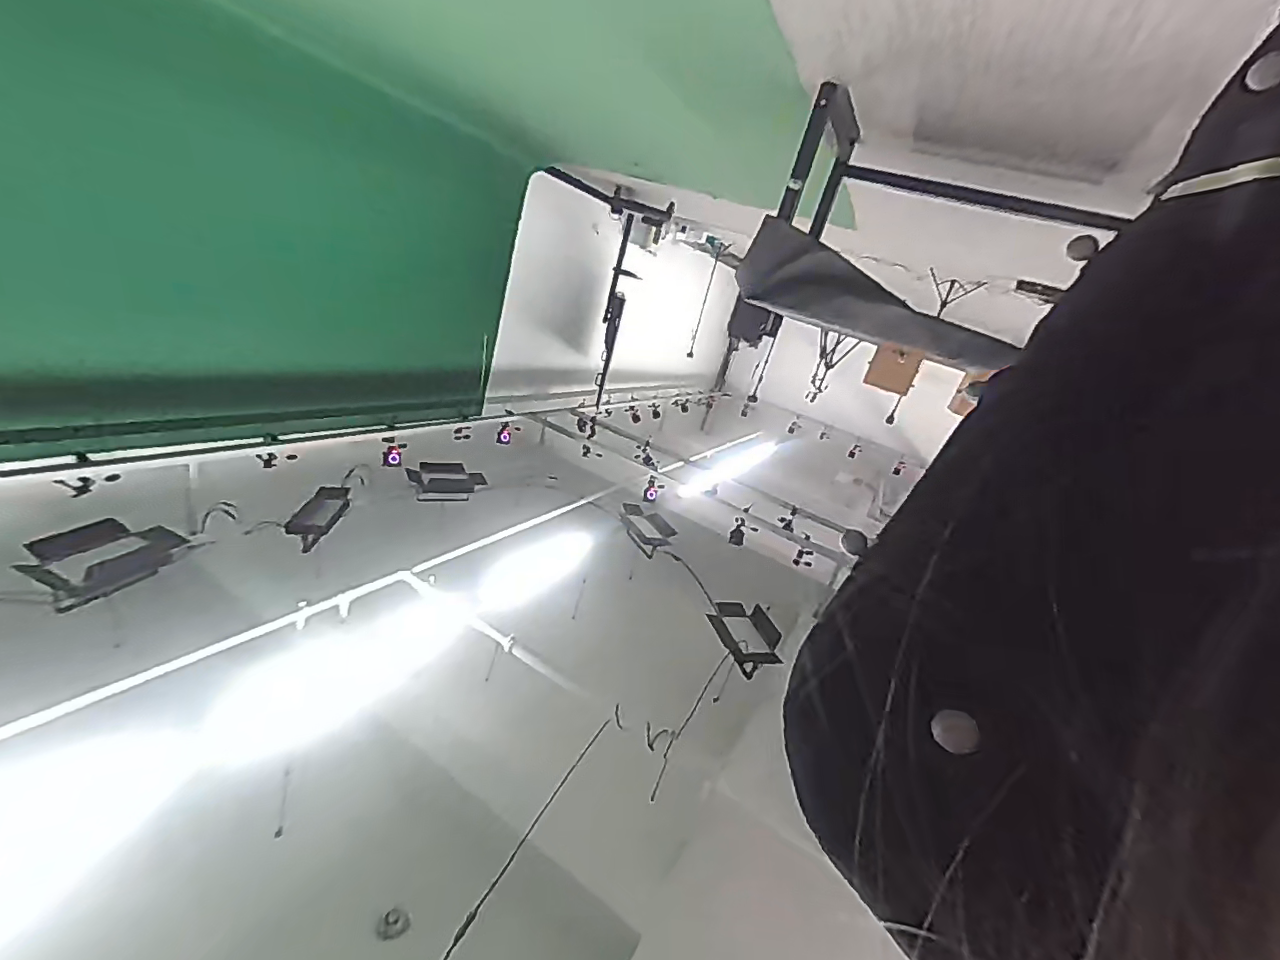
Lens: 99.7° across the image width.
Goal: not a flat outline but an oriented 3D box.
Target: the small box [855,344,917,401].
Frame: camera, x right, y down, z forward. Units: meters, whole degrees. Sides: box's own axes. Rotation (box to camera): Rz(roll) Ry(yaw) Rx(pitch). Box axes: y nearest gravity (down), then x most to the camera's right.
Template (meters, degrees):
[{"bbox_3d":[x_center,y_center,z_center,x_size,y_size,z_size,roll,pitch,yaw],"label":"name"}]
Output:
[{"bbox_3d":[0.936,-0.412,2.055,0.168,0.176,0.179,23,-161,20],"label":"small box"}]

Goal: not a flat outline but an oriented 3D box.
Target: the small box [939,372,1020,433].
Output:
[{"bbox_3d":[1.221,-0.286,1.954,0.179,0.176,0.168,22,-161,15],"label":"small box"}]
